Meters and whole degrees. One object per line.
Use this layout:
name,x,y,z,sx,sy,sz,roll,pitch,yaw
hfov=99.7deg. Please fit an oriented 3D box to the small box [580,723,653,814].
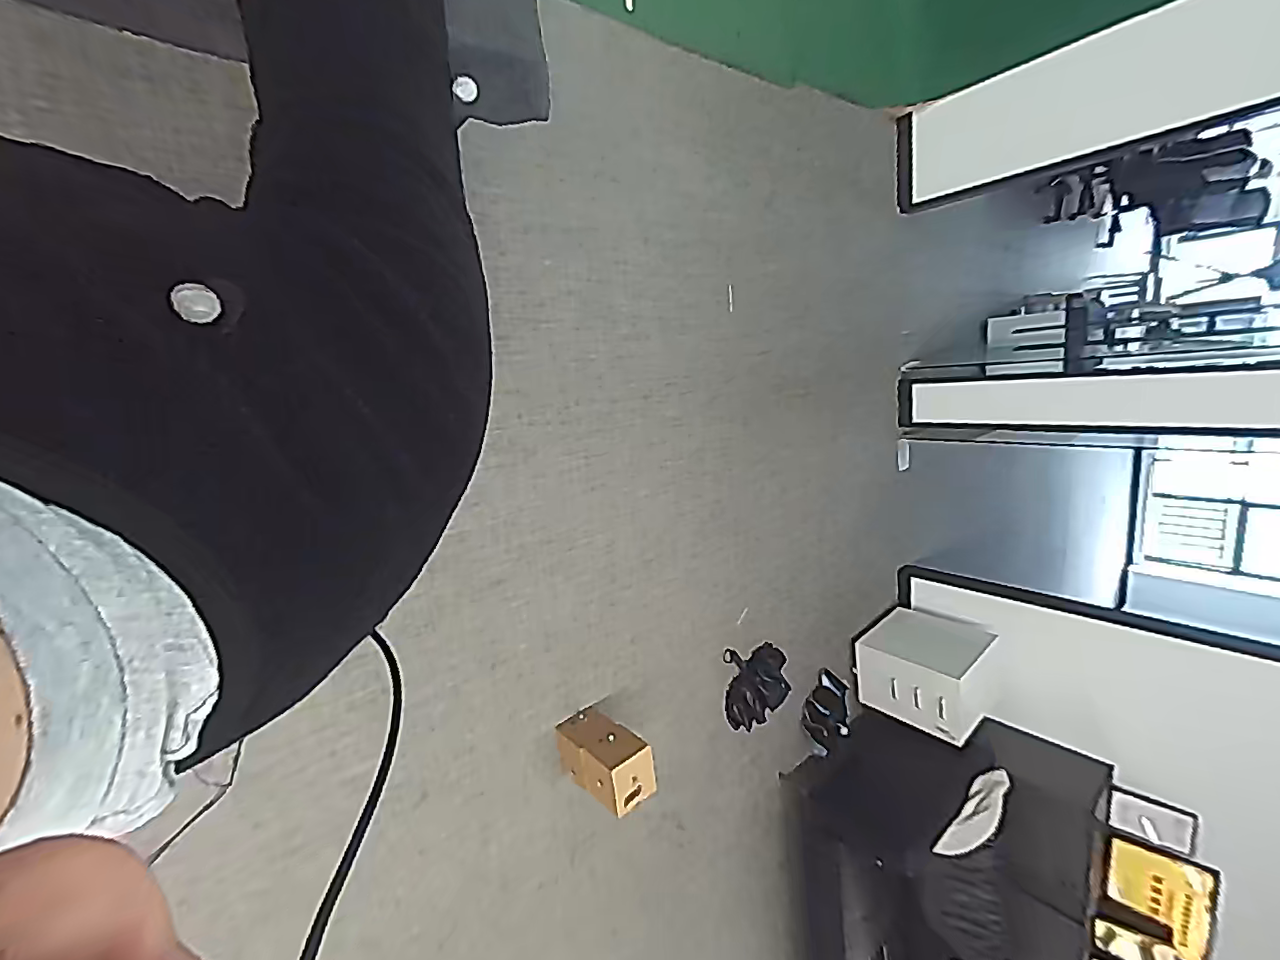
small box,-0.080,0.950,1.800,0.168,0.176,0.179,-17,105,-38

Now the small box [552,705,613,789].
small box,-0.193,0.941,1.921,0.168,0.176,0.179,-19,106,-38
